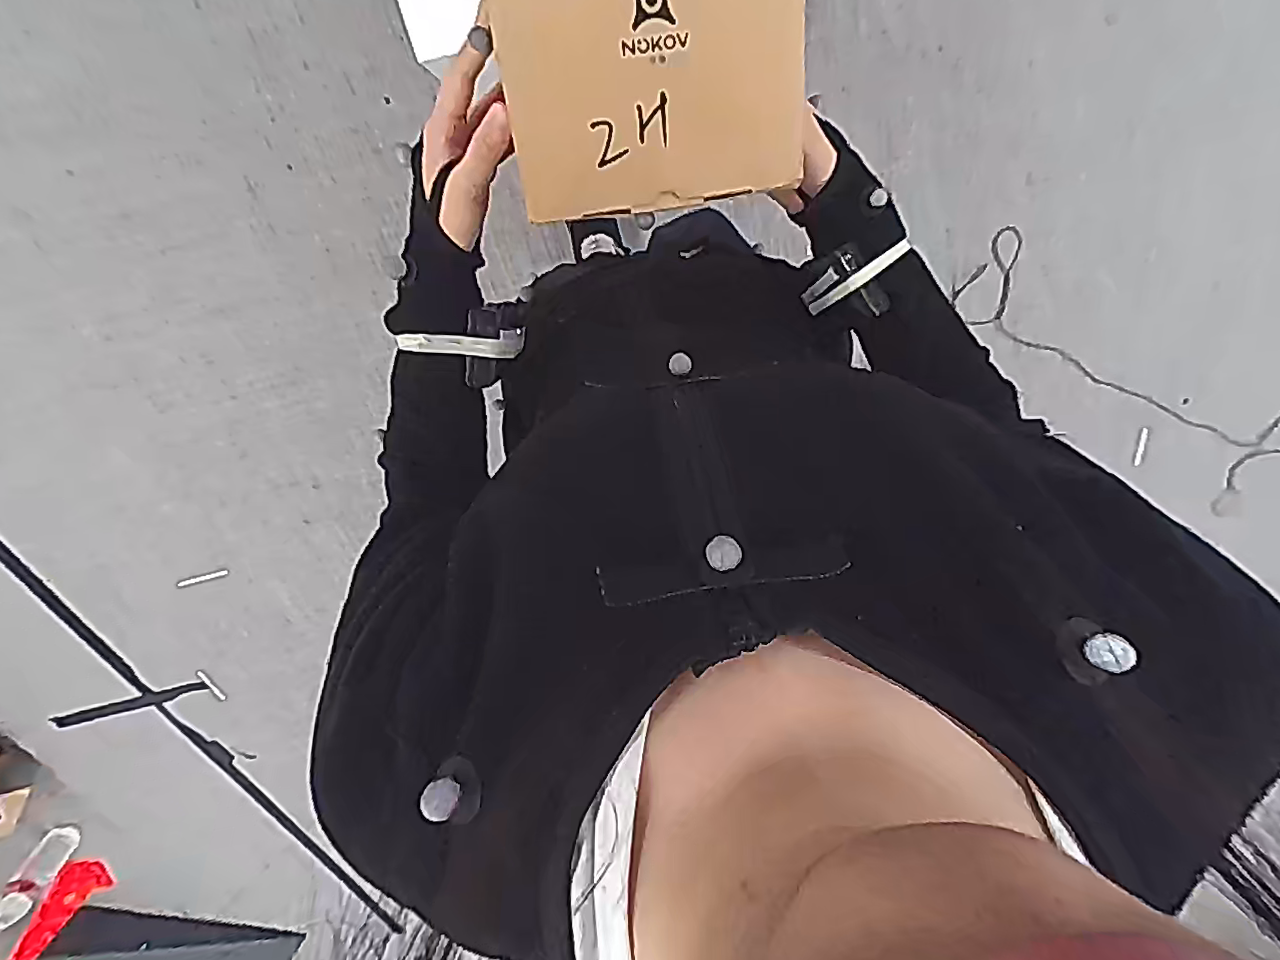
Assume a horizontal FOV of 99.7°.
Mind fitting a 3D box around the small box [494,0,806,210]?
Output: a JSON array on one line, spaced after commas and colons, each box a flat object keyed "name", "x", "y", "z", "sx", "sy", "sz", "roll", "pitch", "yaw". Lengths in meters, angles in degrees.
[{"name": "small box", "x": -0.003, "y": -0.280, "z": 0.351, "sx": 0.168, "sy": 0.176, "sz": 0.179, "roll": -9, "pitch": 118, "yaw": -3}]
